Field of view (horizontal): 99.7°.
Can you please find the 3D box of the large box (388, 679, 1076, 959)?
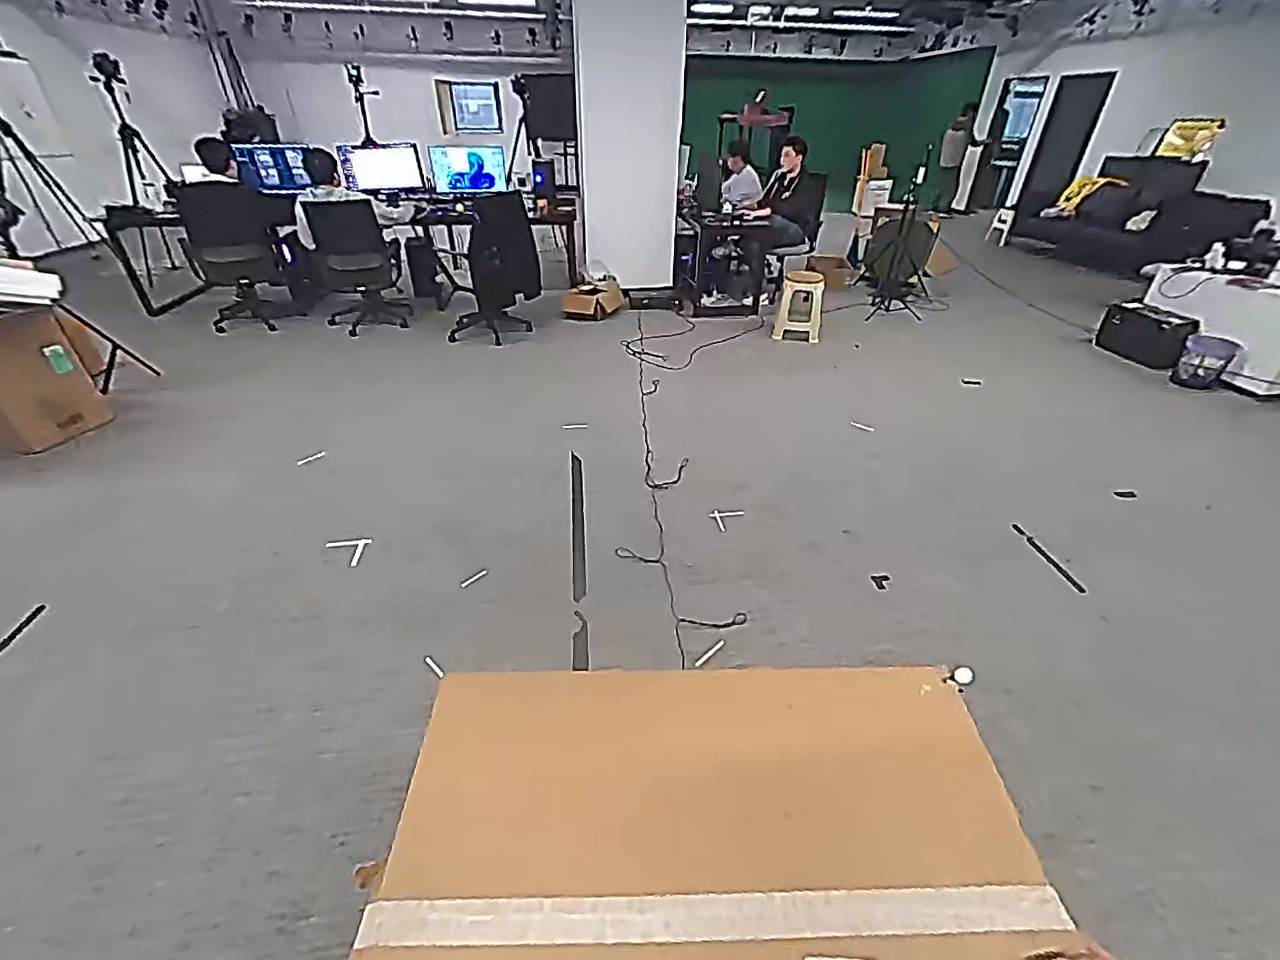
[{"bbox_3d":[0.050,0.379,0.419,0.408,0.320,0.320,-1,42,-1],"label":"large box"}]
